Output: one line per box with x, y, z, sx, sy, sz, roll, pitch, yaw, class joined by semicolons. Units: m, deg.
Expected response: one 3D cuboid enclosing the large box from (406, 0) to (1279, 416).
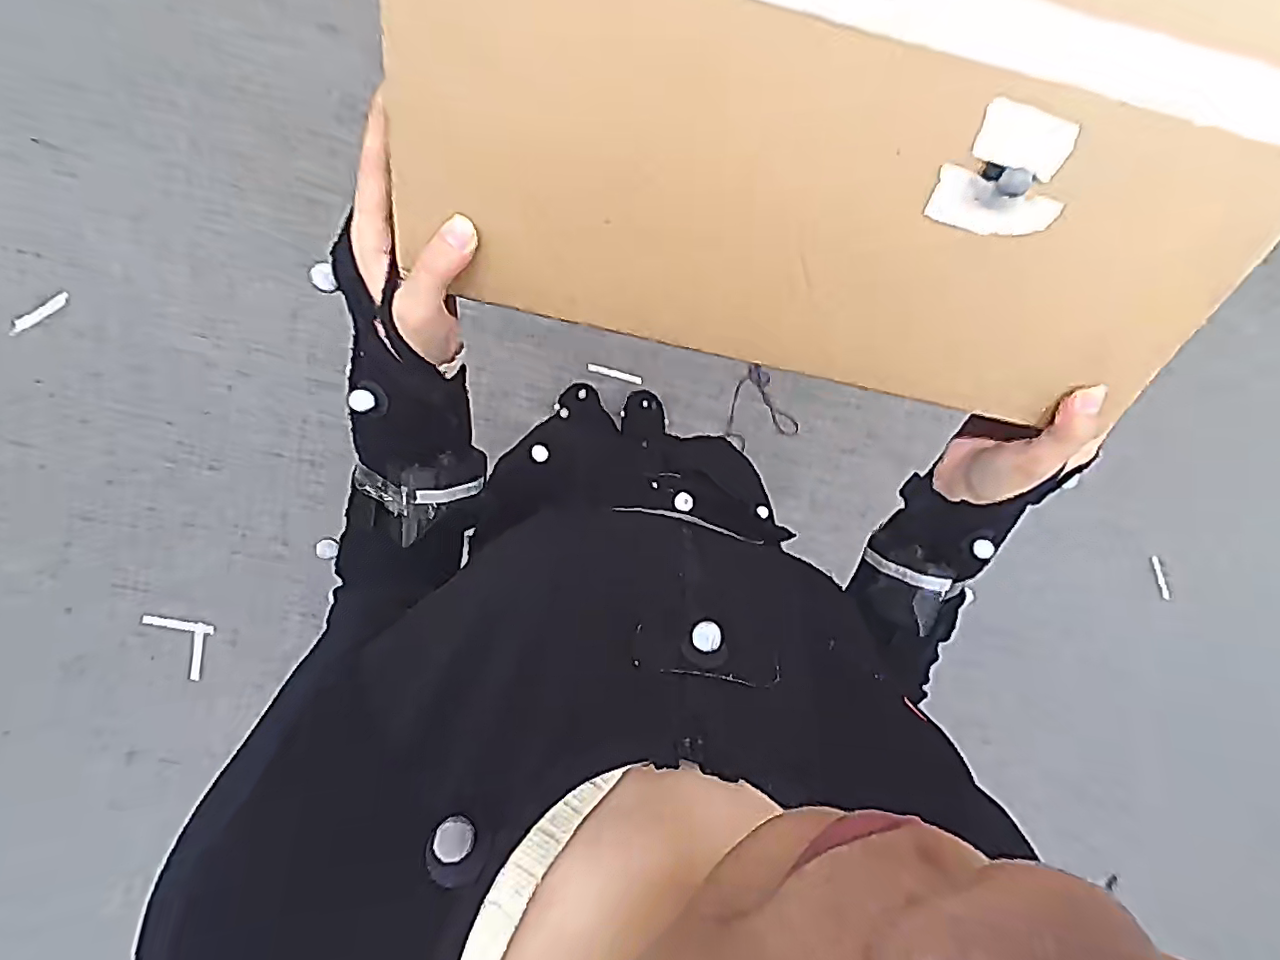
0.108;-0.277;0.336;0.408;0.320;0.320;10;127;-6;large box
